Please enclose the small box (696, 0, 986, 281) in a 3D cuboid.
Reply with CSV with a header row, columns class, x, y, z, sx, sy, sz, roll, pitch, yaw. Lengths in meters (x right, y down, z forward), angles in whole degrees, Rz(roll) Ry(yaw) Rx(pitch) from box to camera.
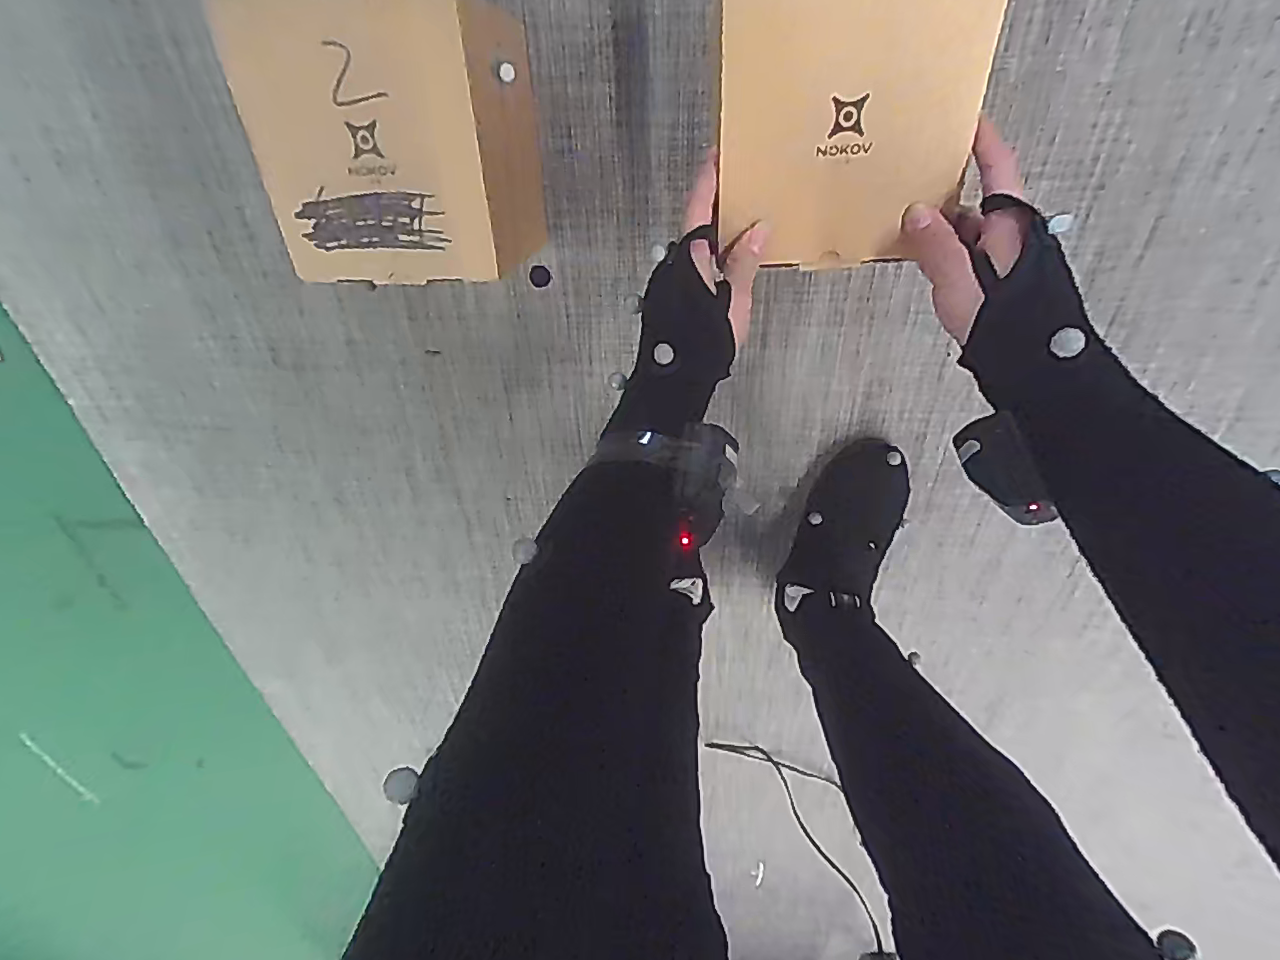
class,x,y,z,sx,sy,sz,roll,pitch,yaw
small box,0.128,-0.268,0.420,0.168,0.176,0.179,-1,125,6
